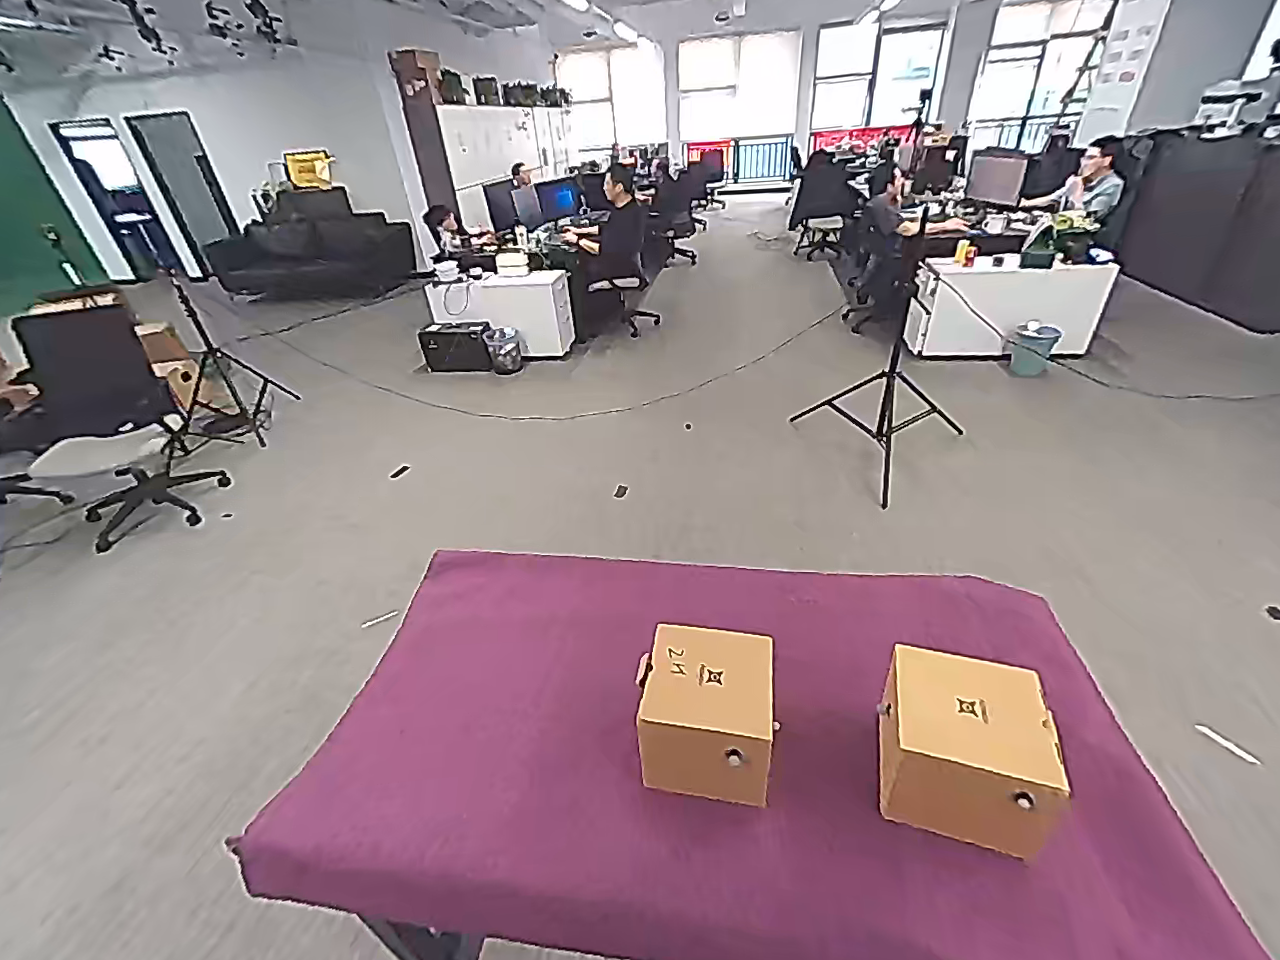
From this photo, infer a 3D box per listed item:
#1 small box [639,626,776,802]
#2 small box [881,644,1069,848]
[{"bbox_3d":[0.104,0.341,0.794,0.179,0.176,0.168,3,33,12],"label":"small box"},{"bbox_3d":[0.428,0.354,0.728,0.179,0.176,0.168,7,35,18],"label":"small box"}]
